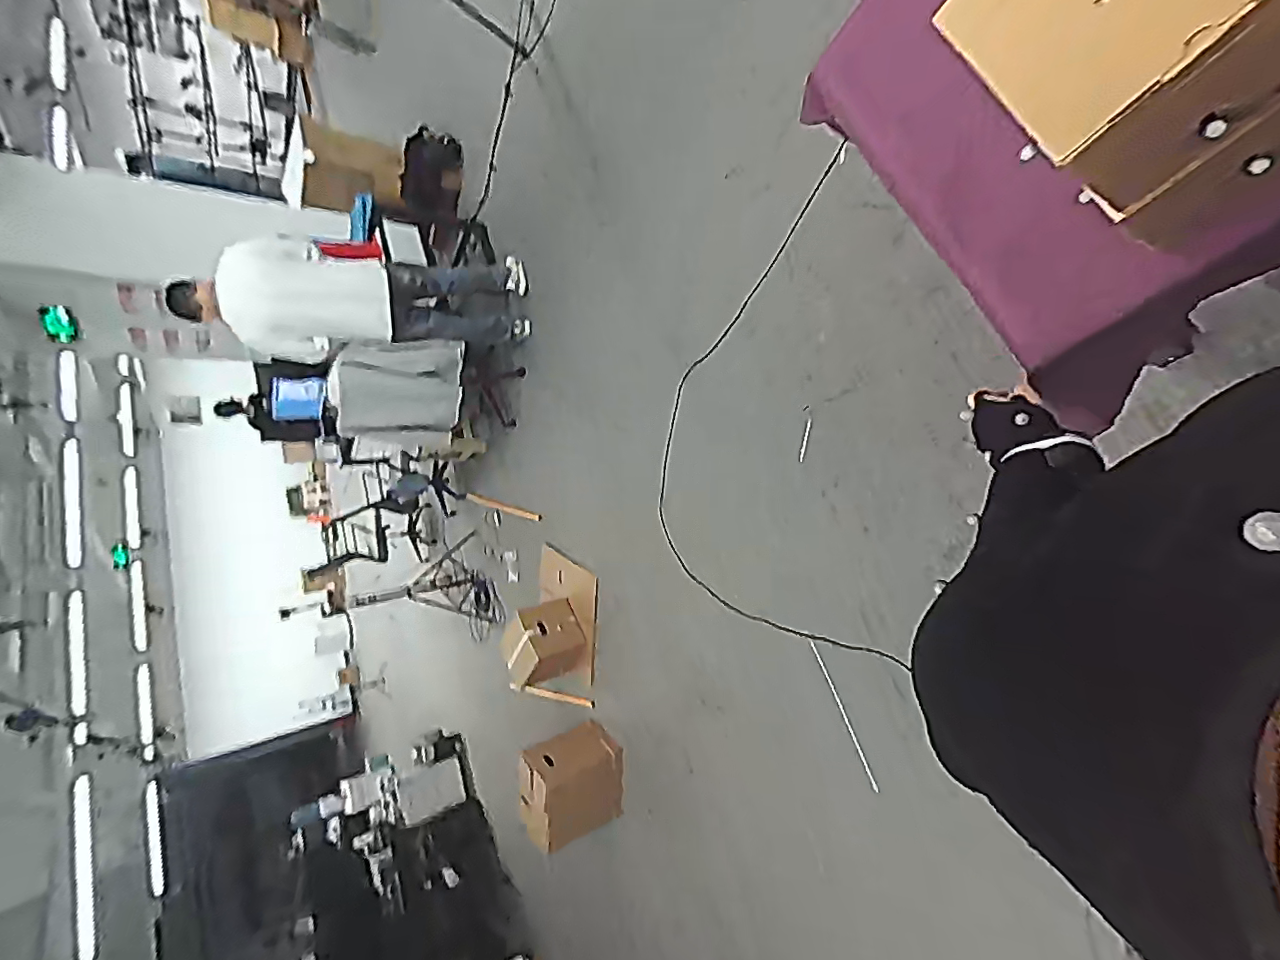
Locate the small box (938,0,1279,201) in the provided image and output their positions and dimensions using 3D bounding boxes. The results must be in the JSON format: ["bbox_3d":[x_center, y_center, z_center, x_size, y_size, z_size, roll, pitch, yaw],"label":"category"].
[{"bbox_3d":[0.374,-0.344,0.405,0.168,0.176,0.179,-43,63,46],"label":"small box"}]
